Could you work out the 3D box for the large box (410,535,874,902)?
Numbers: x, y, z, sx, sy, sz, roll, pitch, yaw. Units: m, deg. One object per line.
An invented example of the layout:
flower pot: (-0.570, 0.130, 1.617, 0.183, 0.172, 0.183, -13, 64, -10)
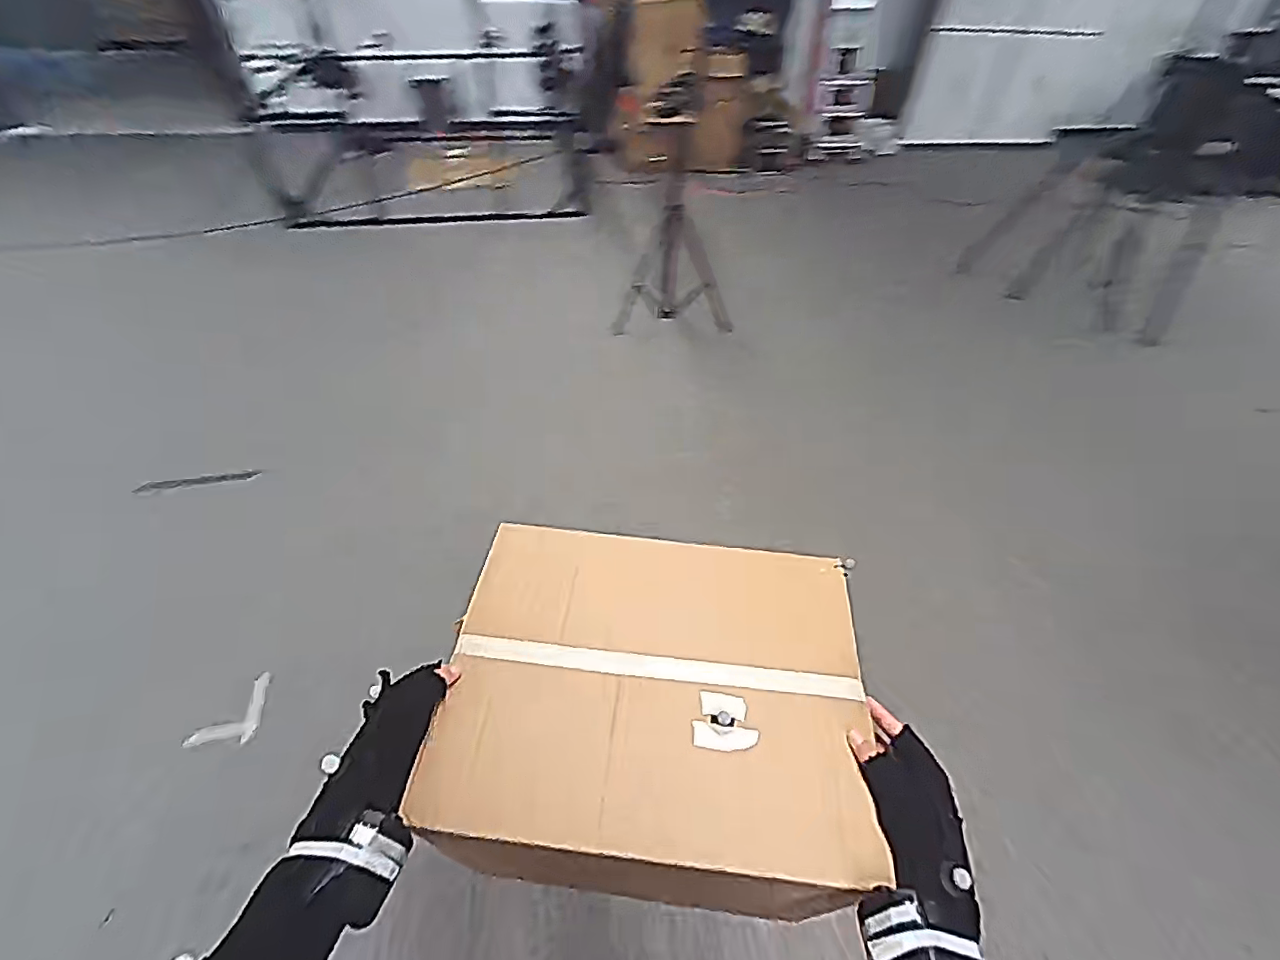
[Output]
large box: (0.004, 0.294, 0.662, 0.408, 0.320, 0.320, 5, 49, 2)
